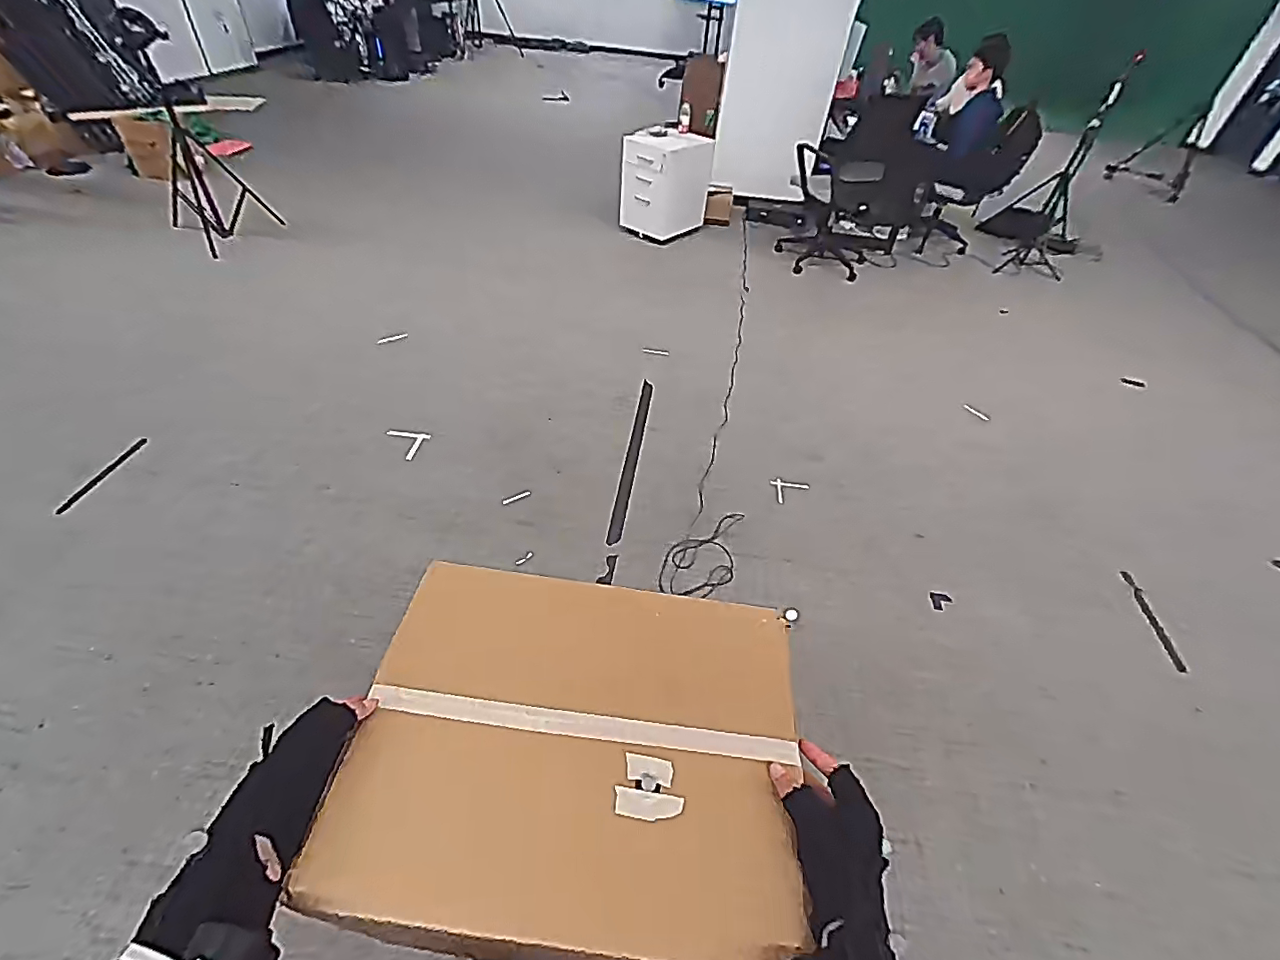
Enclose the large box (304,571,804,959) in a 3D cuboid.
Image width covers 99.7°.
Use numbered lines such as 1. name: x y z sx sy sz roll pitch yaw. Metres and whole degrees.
1. large box: -0.069 0.340 0.628 0.408 0.320 0.320 8 46 1
